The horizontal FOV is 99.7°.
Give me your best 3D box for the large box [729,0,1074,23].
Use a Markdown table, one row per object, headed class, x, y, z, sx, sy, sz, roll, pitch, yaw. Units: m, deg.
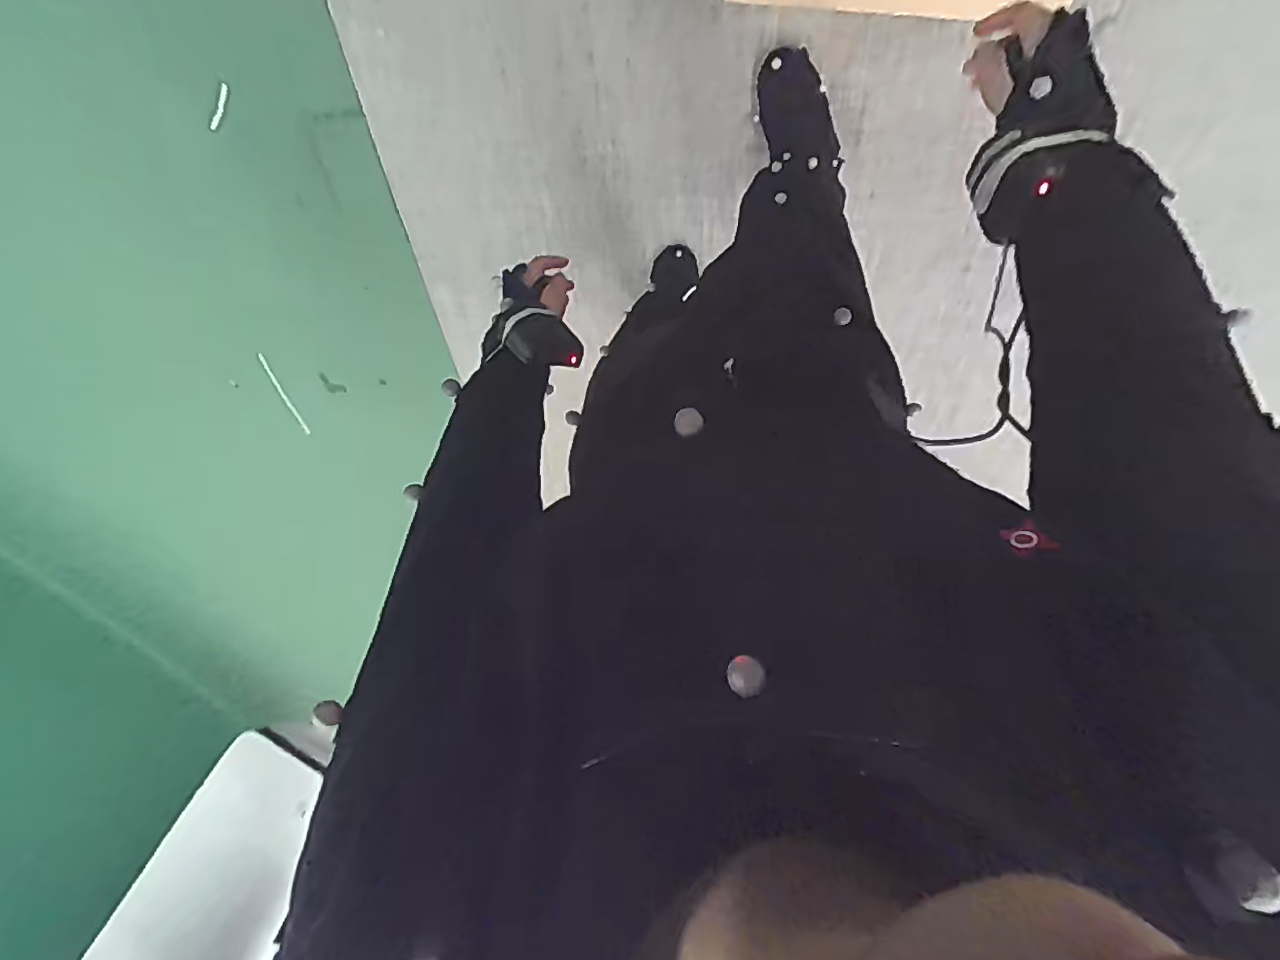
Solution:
| class | x | y | z | sx | sy | sz | roll | pitch | yaw |
| --- | --- | --- | --- | --- | --- | --- | --- | --- | --- |
| large box | 0.330 | -0.775 | 0.657 | 0.408 | 0.320 | 0.320 | 8 | 136 | 5 |
